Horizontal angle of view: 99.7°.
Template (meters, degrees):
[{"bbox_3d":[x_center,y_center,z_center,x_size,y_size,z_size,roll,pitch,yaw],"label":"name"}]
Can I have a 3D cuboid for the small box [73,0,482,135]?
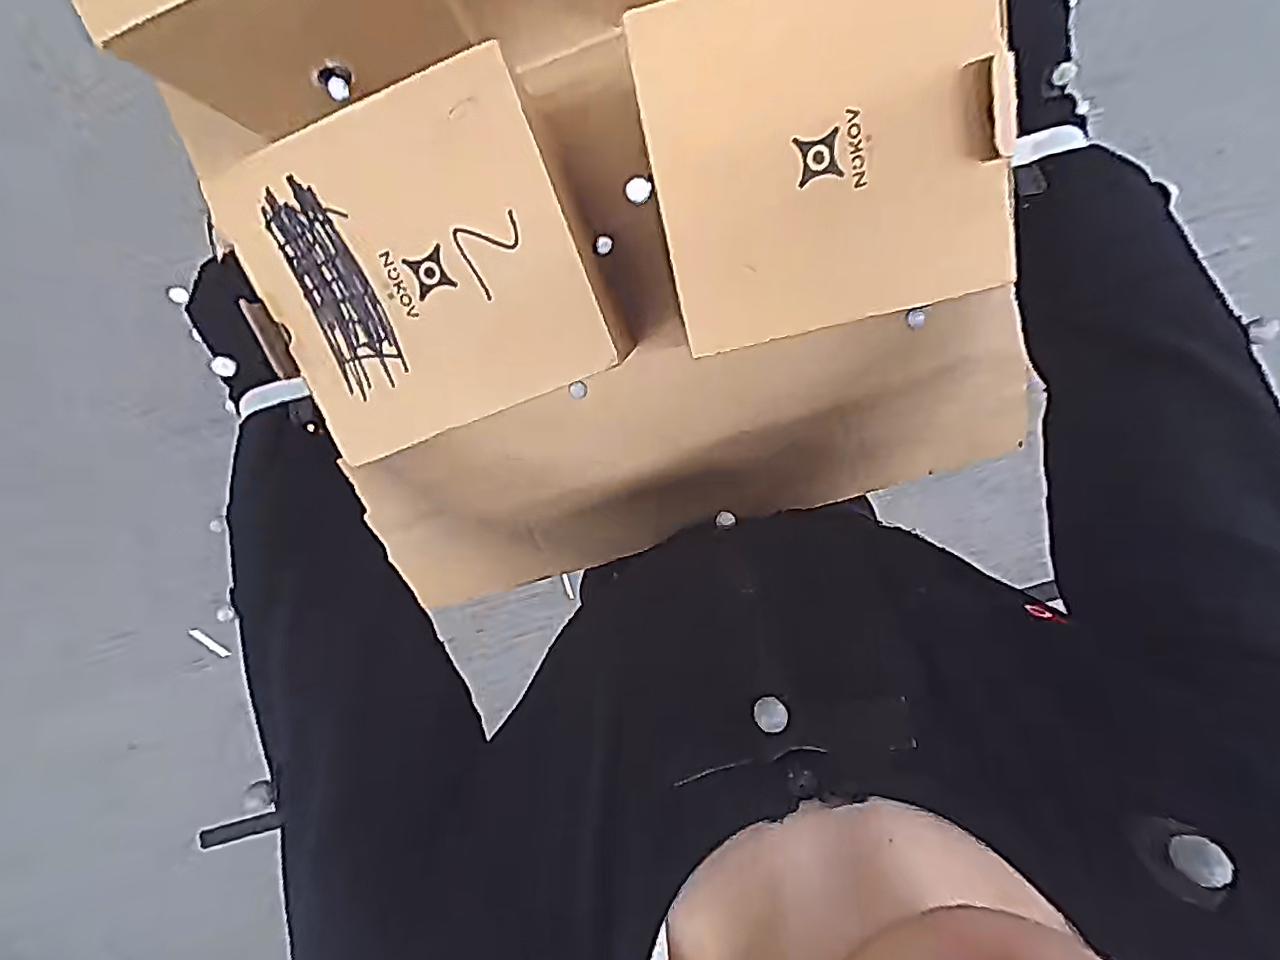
[{"bbox_3d":[-0.218,-0.341,0.323,0.168,0.176,0.179,-17,101,7],"label":"small box"}]
